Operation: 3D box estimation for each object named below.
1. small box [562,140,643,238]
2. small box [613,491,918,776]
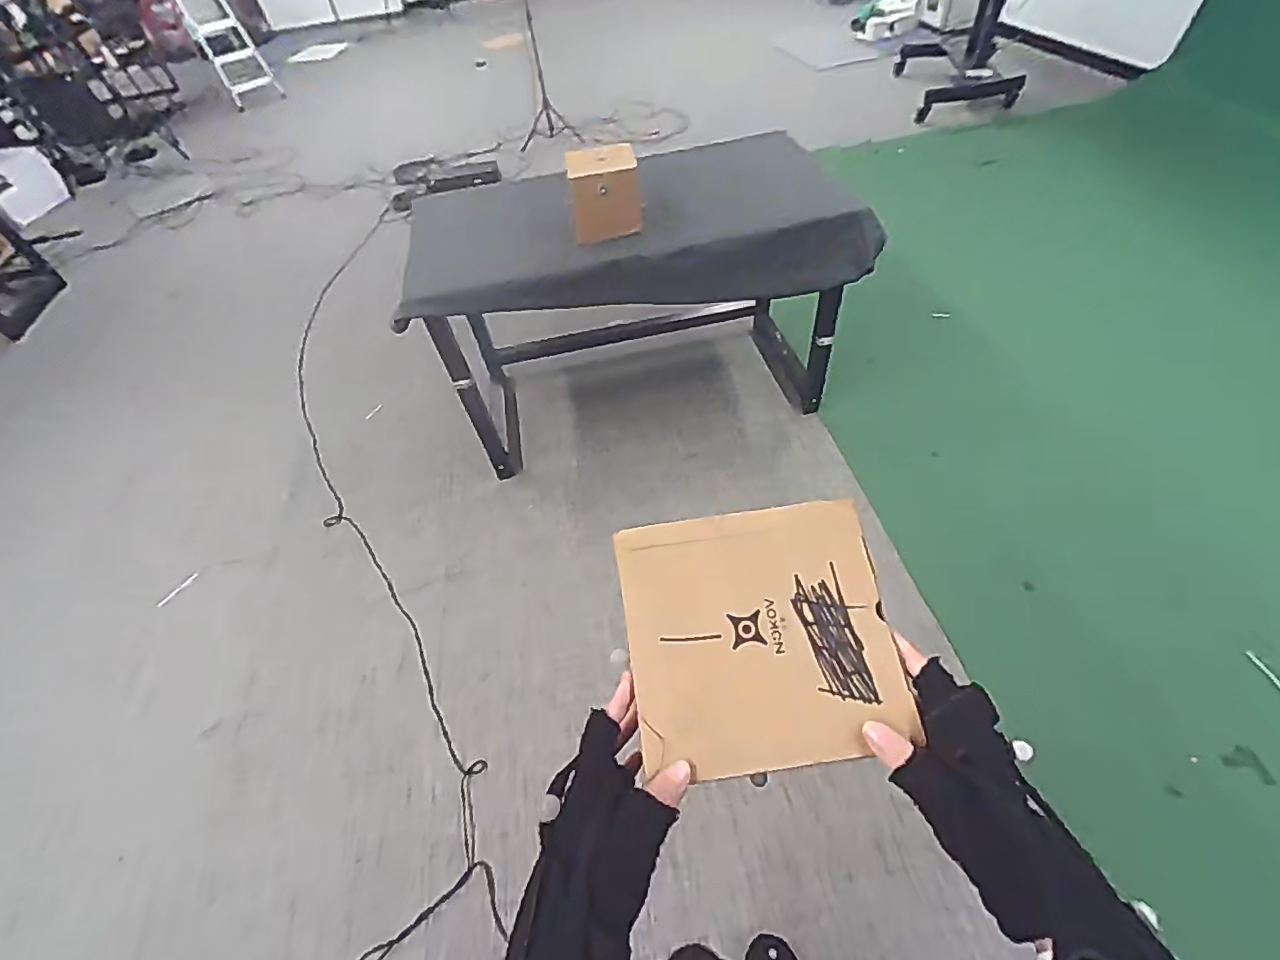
[{"bbox_3d":[-0.096,-0.758,1.415,0.179,0.176,0.168,-11,51,-2],"label":"small box"},{"bbox_3d":[0.079,0.124,0.434,0.179,0.176,0.168,-9,67,-1],"label":"small box"}]
